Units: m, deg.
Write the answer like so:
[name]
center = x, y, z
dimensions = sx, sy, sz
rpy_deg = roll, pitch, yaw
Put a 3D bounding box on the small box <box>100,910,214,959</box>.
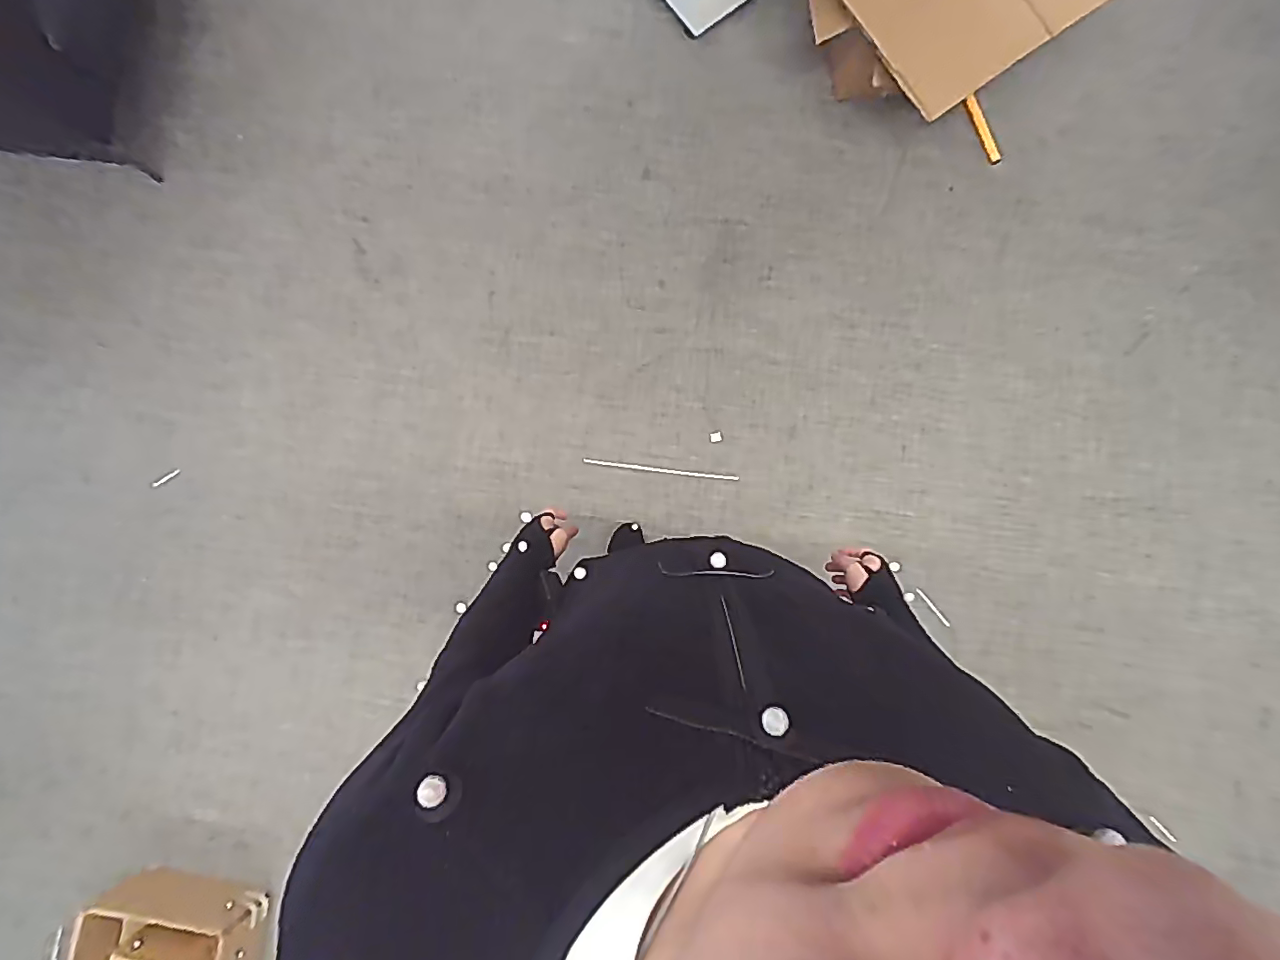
[small box]
center = -1.297, 1.302, 1.444
dimensions = 0.179, 0.176, 0.168
rpy_deg = 12, 85, 3
